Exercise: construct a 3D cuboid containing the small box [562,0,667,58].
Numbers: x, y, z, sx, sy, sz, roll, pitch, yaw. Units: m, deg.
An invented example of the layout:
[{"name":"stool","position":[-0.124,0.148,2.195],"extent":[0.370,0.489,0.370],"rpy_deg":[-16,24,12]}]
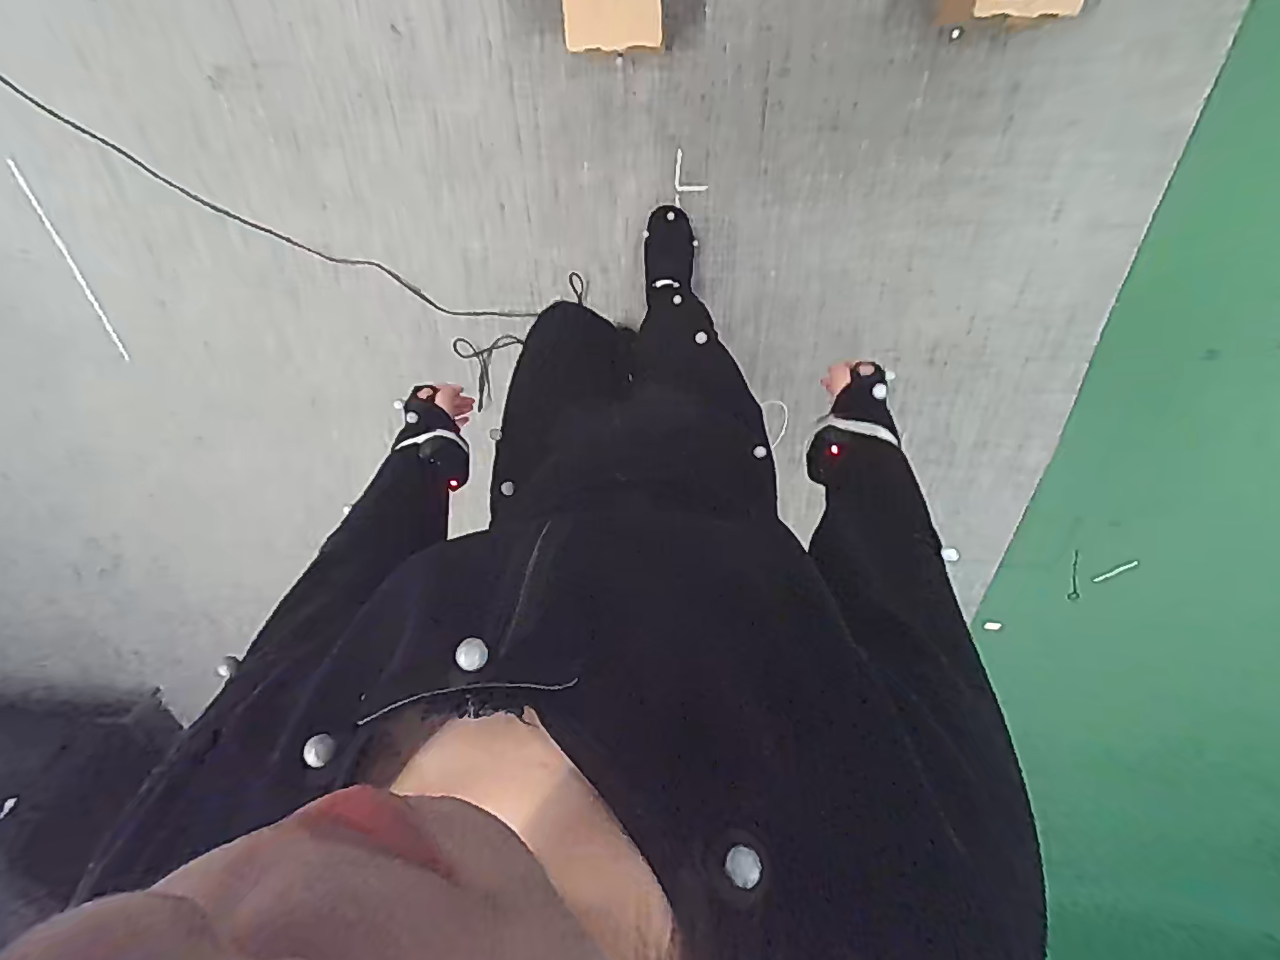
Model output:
[{"name":"small box","position":[-0.040,-0.849,0.942],"extent":[0.168,0.176,0.179],"rpy_deg":[2,125,6]}]
